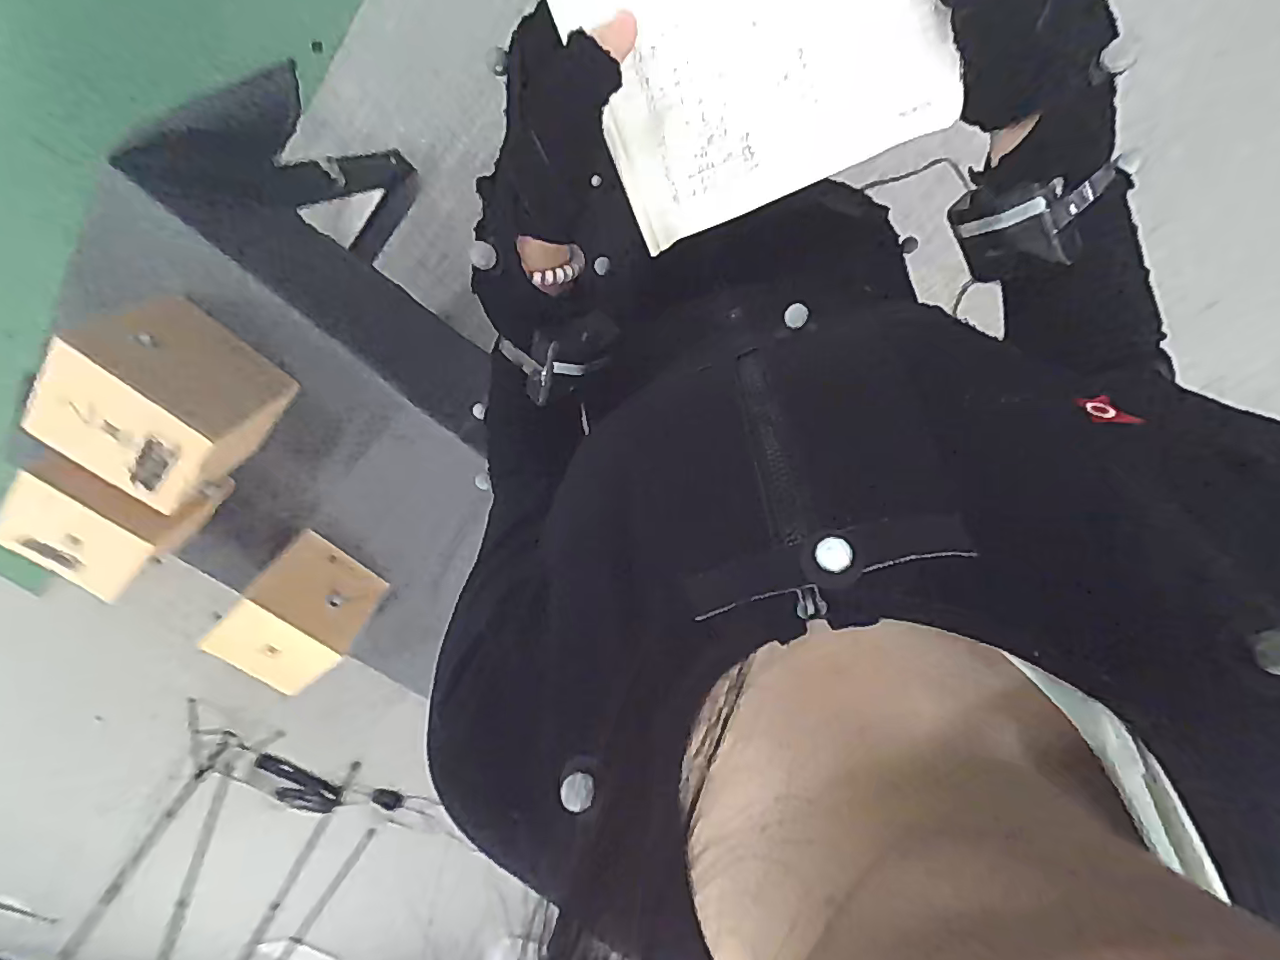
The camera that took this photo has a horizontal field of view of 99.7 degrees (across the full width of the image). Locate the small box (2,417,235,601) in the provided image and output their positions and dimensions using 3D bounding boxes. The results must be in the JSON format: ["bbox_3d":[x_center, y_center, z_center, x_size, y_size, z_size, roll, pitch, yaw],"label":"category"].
[{"bbox_3d":[-0.762,0.040,0.808,0.179,0.176,0.168,-36,114,24],"label":"small box"}]

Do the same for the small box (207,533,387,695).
[{"bbox_3d":[-0.562,0.222,0.914,0.179,0.176,0.168,-36,114,25],"label":"small box"}]
